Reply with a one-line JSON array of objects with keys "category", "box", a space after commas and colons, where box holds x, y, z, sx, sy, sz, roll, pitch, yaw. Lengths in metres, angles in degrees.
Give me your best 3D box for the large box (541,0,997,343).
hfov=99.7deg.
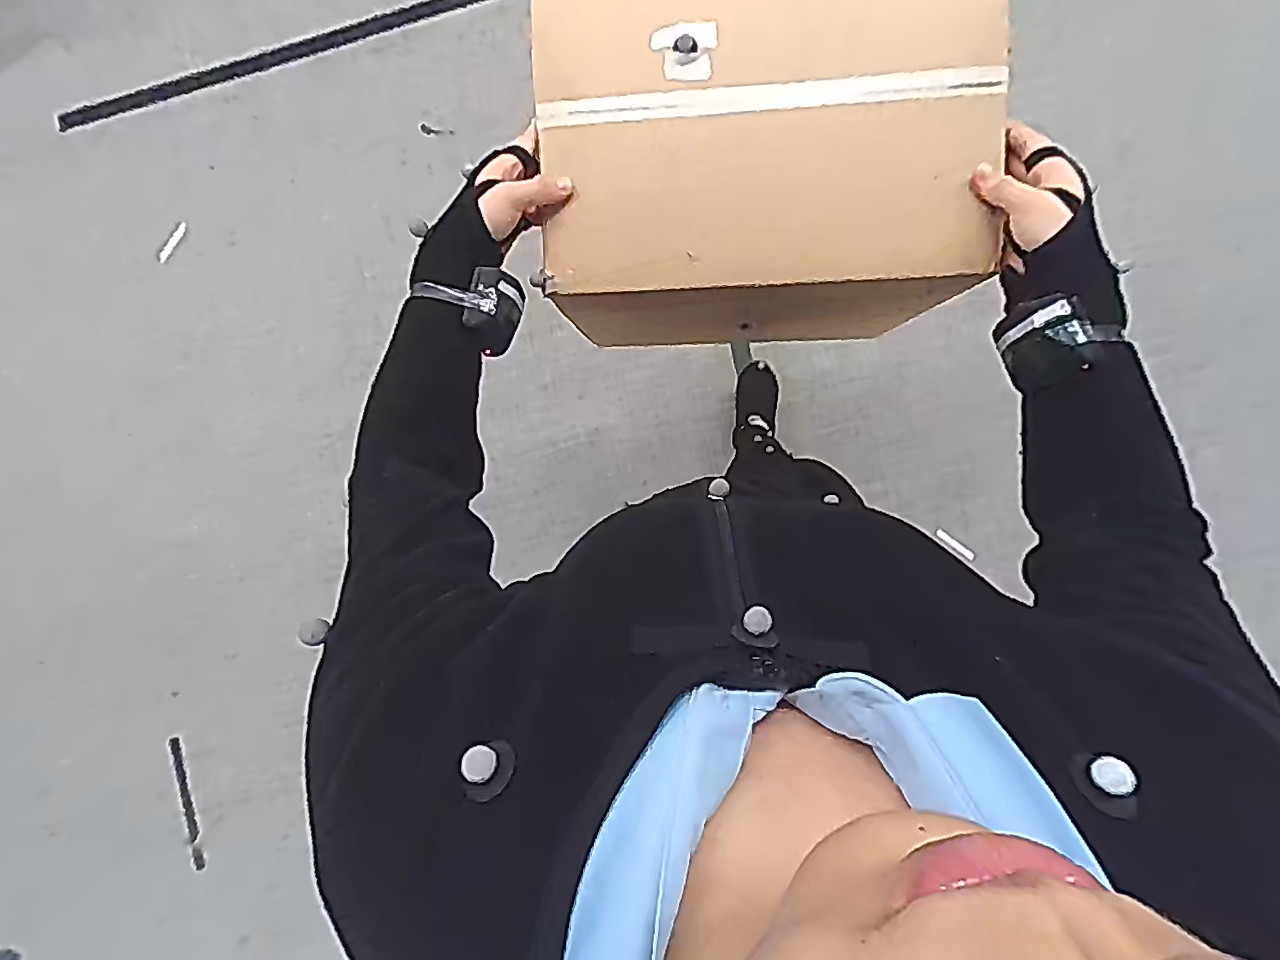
[{"category": "large box", "box": [0.127, -0.349, 0.634, 0.408, 0.320, 0.320, -1, 93, 6]}]
